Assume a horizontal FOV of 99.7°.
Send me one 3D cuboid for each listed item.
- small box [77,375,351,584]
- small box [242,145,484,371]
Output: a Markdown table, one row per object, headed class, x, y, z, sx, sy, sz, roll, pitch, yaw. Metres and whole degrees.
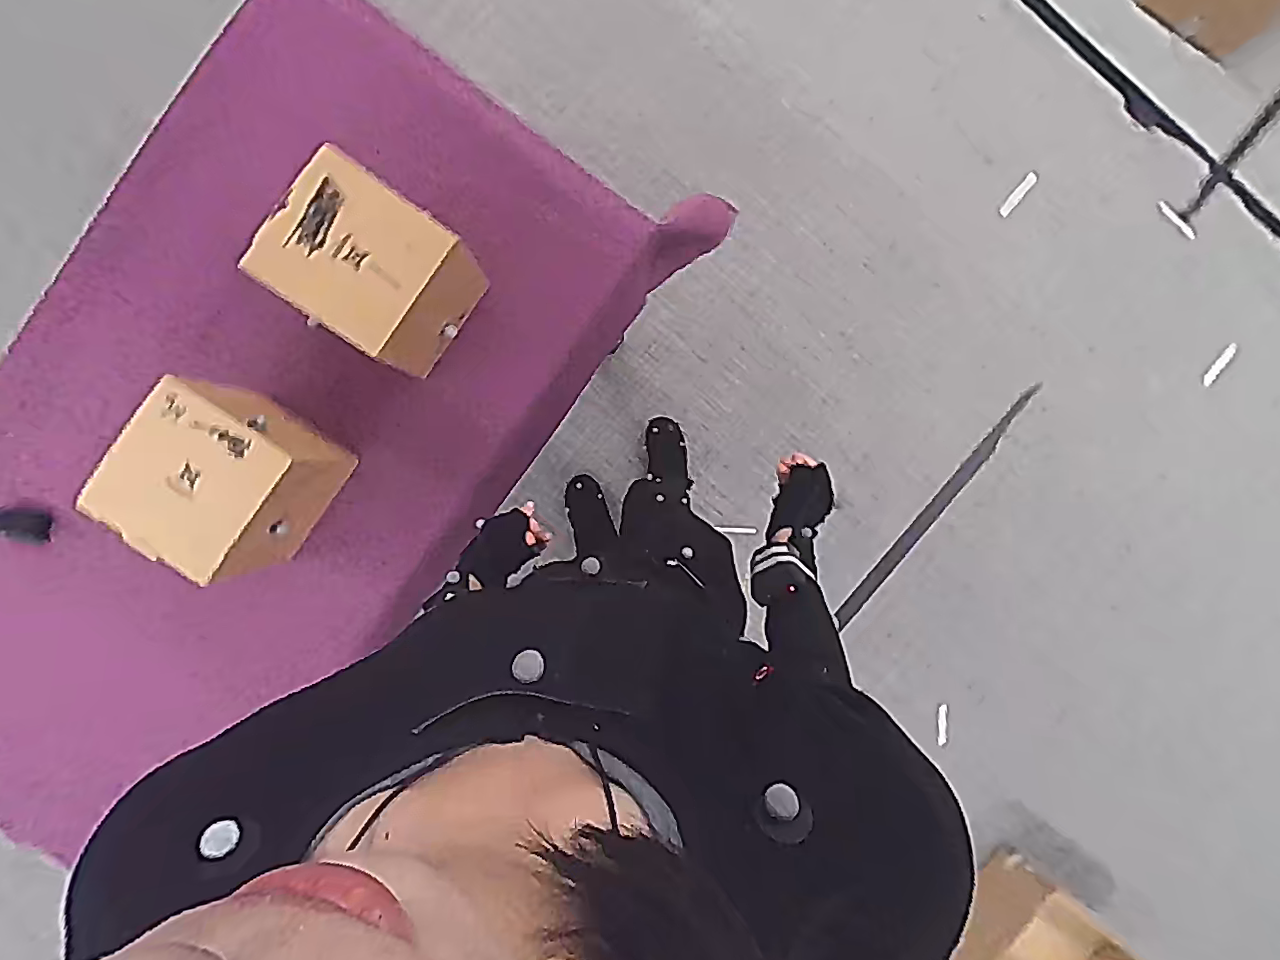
| class | x | y | z | sx | sy | sz | roll | pitch | yaw |
| --- | --- | --- | --- | --- | --- | --- | --- | --- | --- |
| small box | -0.502 | -0.002 | 0.670 | 0.168 | 0.176 | 0.179 | 34 | 90 | -4 |
| small box | -0.324 | -0.256 | 0.674 | 0.179 | 0.176 | 0.168 | 35 | 90 | -4 |
